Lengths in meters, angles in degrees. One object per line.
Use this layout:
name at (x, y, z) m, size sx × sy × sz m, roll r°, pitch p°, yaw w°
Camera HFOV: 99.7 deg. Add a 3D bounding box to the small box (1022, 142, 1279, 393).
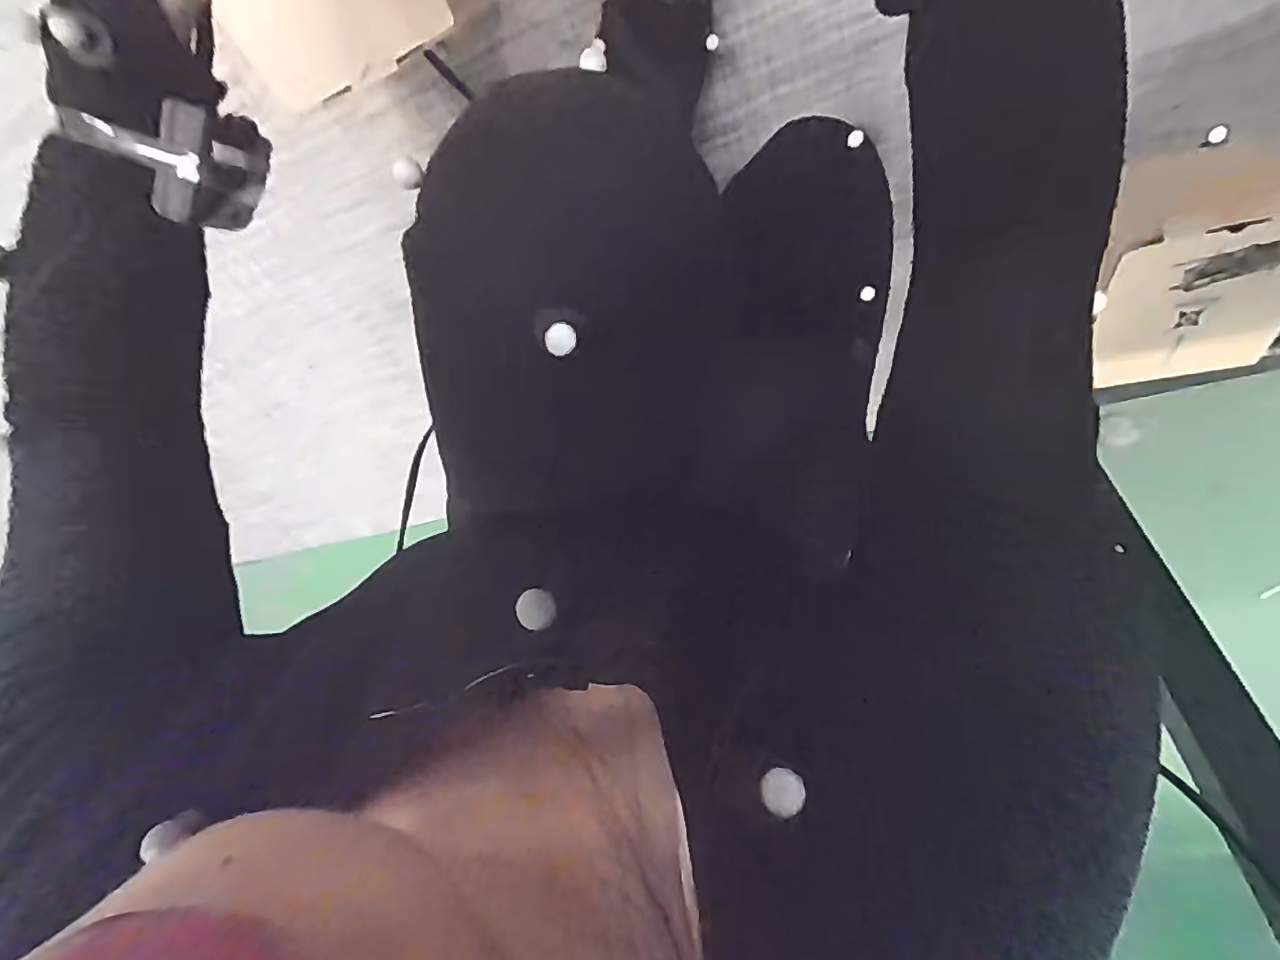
small box at (0.530, -0.220, 0.560) m, size 0.168 × 0.176 × 0.179 m, roll -7°, pitch 137°, yaw 16°
